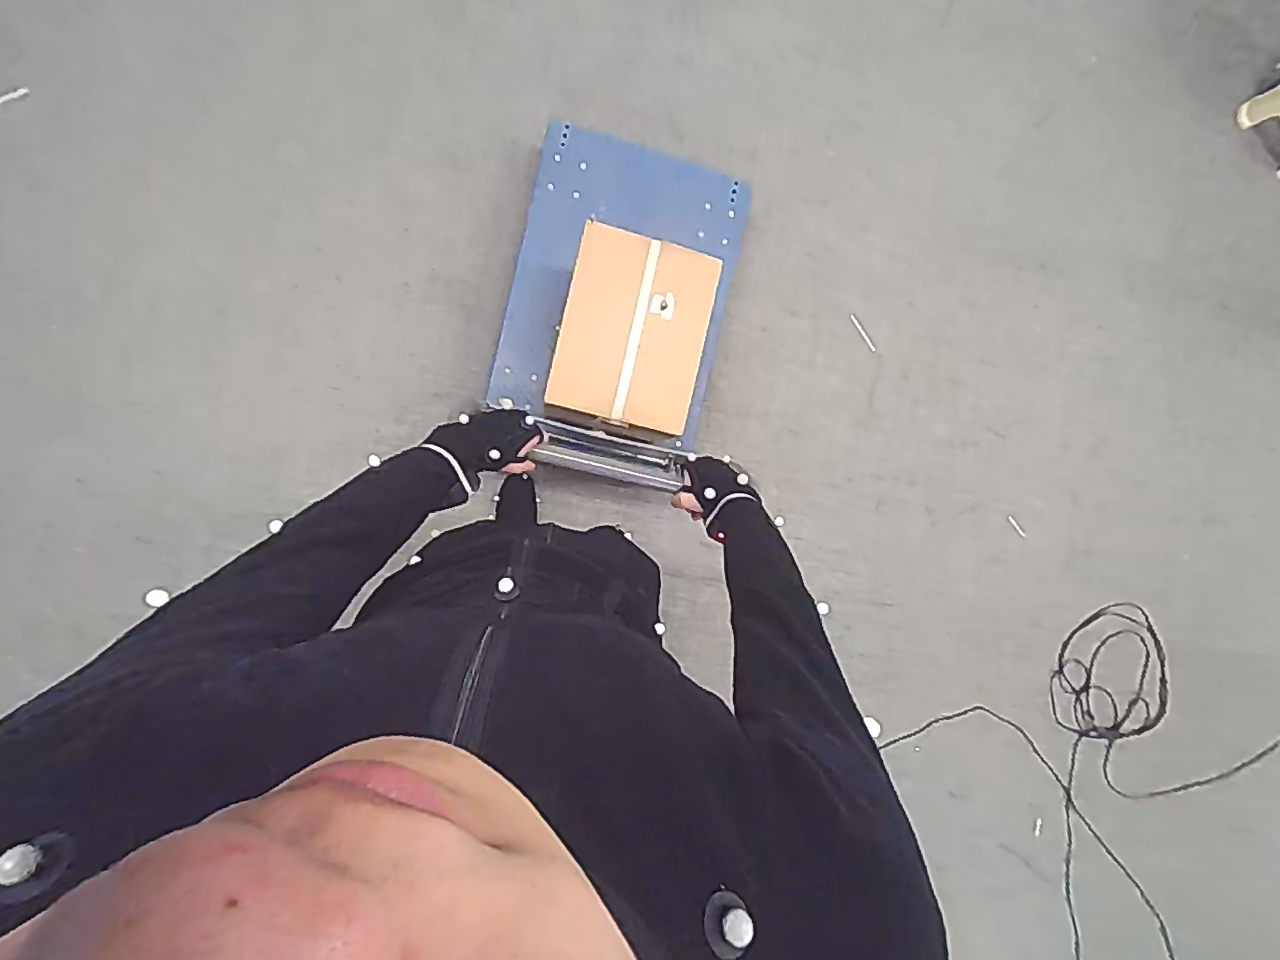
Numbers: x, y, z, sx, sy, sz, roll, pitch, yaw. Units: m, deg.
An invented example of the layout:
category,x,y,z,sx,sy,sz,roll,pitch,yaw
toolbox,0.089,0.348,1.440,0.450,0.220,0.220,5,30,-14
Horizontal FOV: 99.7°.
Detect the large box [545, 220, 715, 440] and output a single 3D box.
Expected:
category,x,y,z,sx,sy,sz,roll,pitch,yaw
large box,-0.041,-0.330,1.317,0.320,0.320,0.408,13,88,-10
